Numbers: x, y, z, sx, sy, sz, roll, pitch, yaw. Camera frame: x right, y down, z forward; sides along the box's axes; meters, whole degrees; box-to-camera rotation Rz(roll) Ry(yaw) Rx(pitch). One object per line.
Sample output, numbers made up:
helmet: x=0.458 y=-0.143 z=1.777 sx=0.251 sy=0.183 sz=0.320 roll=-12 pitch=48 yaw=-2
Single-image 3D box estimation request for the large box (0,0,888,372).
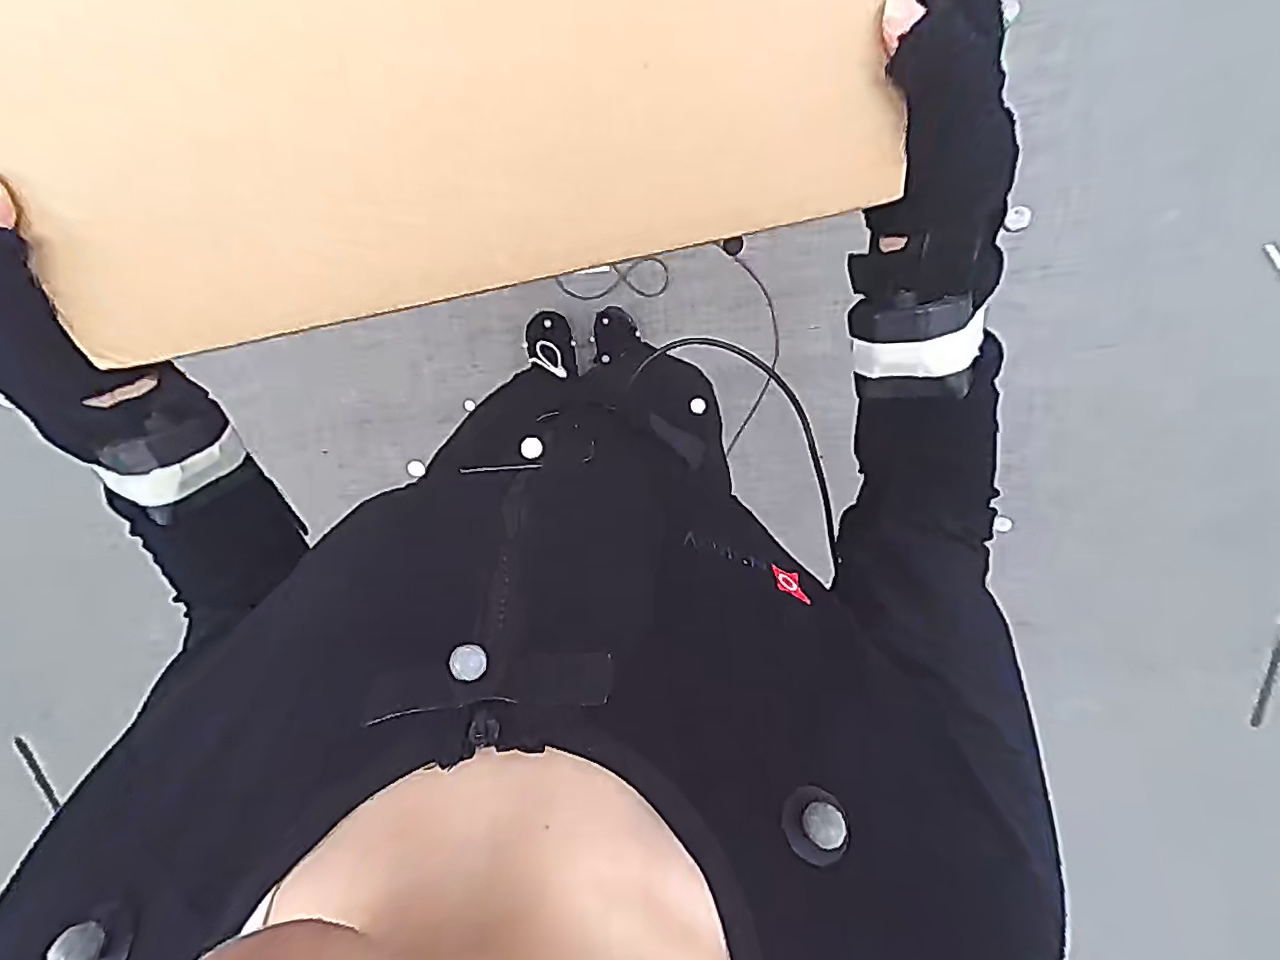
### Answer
large box: x=-0.111 y=-0.300 z=0.330 sx=0.408 sy=0.320 sz=0.320 roll=-12 pitch=119 yaw=2
